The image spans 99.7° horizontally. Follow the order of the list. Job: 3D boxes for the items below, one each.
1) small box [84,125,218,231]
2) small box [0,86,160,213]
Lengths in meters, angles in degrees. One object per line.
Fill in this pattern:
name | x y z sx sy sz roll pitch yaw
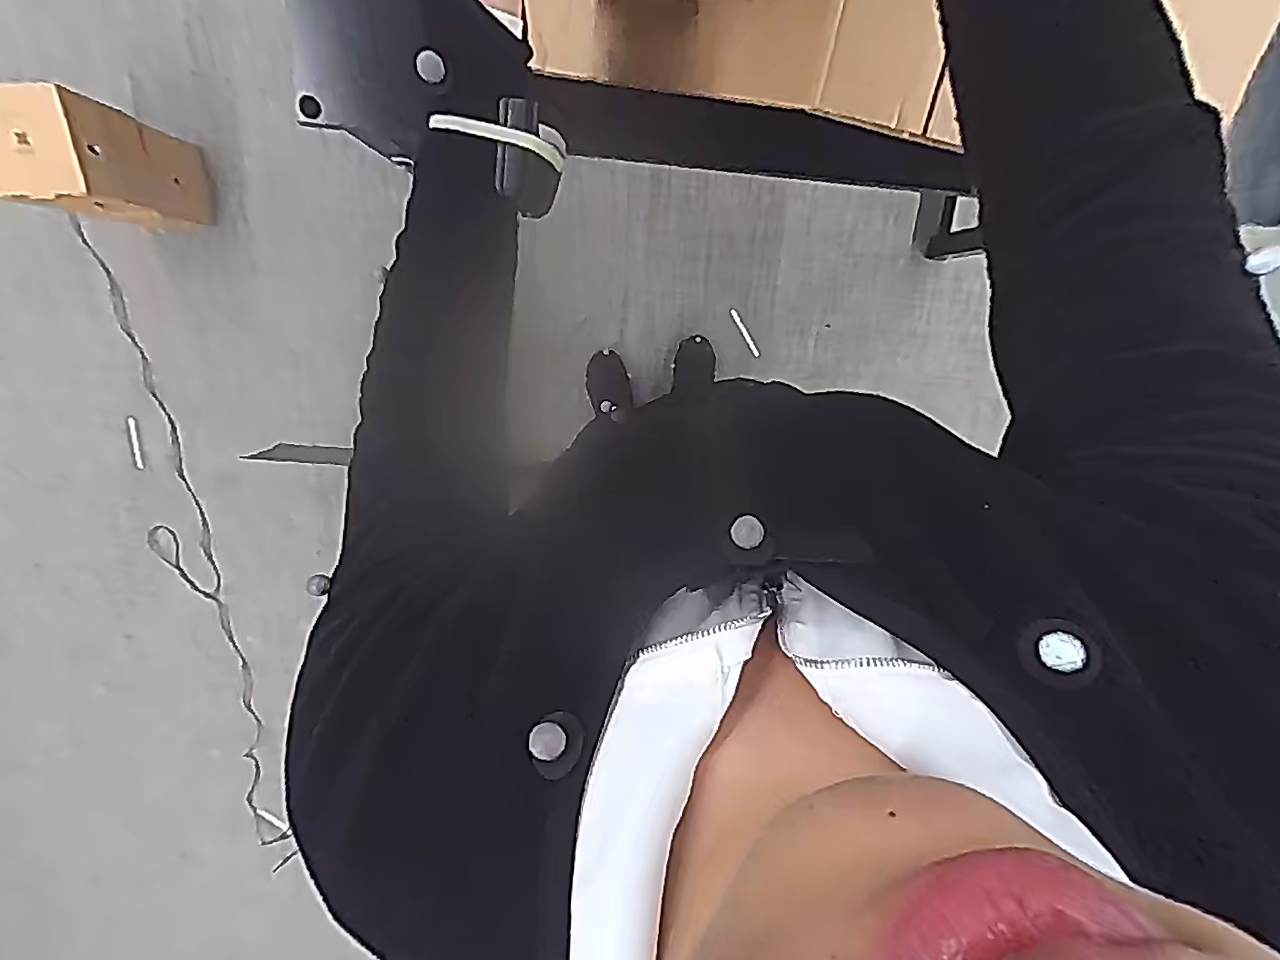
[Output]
small box | -1.078 -0.655 1.183 0.168 0.176 0.179 0 108 -3
small box | -1.072 -0.613 1.026 0.168 0.176 0.179 -3 106 -3
